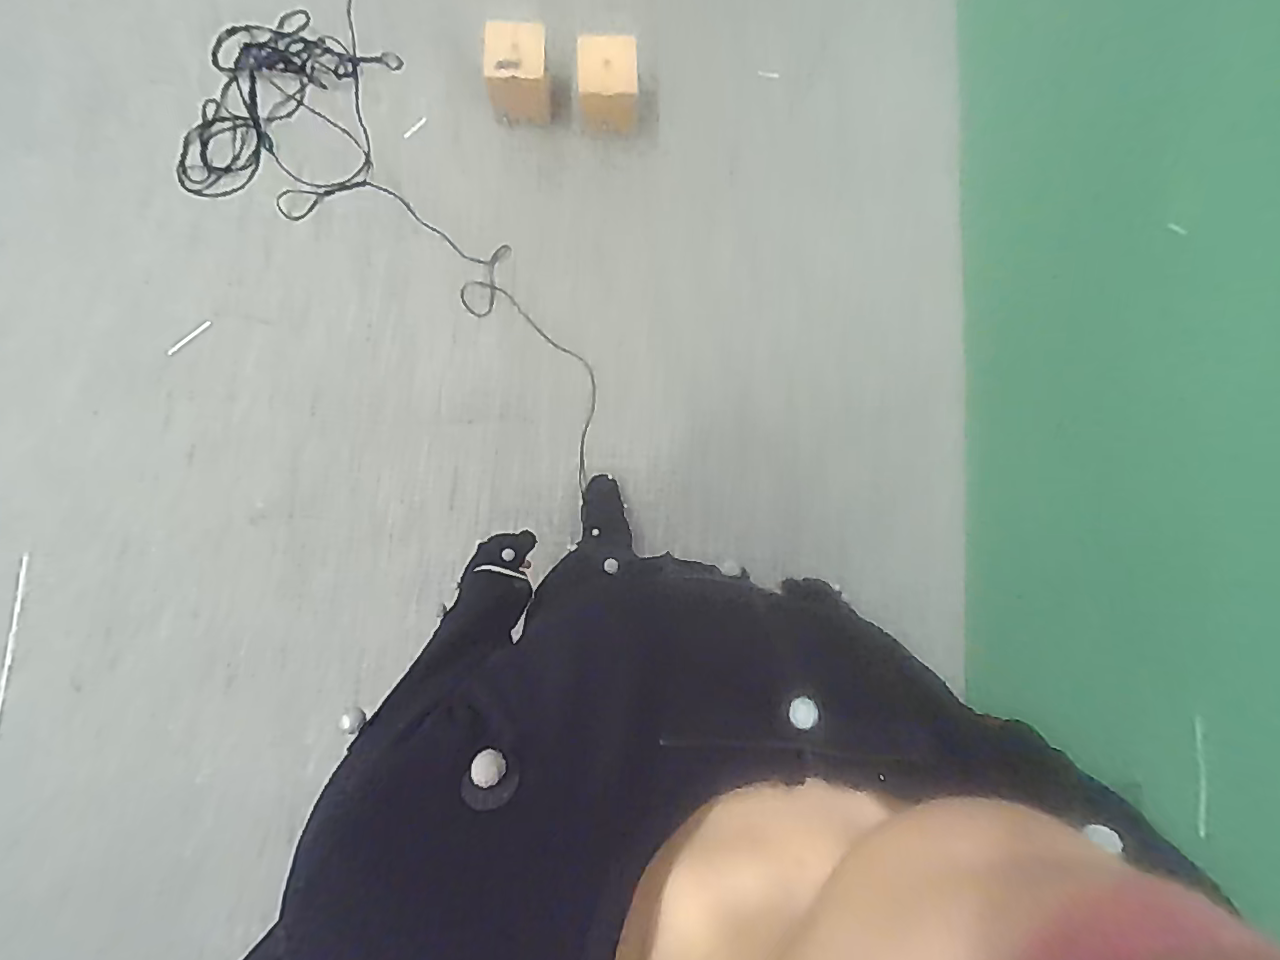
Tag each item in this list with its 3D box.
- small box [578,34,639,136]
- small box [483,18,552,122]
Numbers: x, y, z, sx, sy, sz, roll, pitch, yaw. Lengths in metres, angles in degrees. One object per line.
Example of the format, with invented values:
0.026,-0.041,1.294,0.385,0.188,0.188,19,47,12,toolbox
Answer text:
-0.092,-1.132,1.556,0.168,0.176,0.179,-2,84,-3,small box
-0.345,-1.165,1.547,0.168,0.176,0.179,1,82,-3,small box
